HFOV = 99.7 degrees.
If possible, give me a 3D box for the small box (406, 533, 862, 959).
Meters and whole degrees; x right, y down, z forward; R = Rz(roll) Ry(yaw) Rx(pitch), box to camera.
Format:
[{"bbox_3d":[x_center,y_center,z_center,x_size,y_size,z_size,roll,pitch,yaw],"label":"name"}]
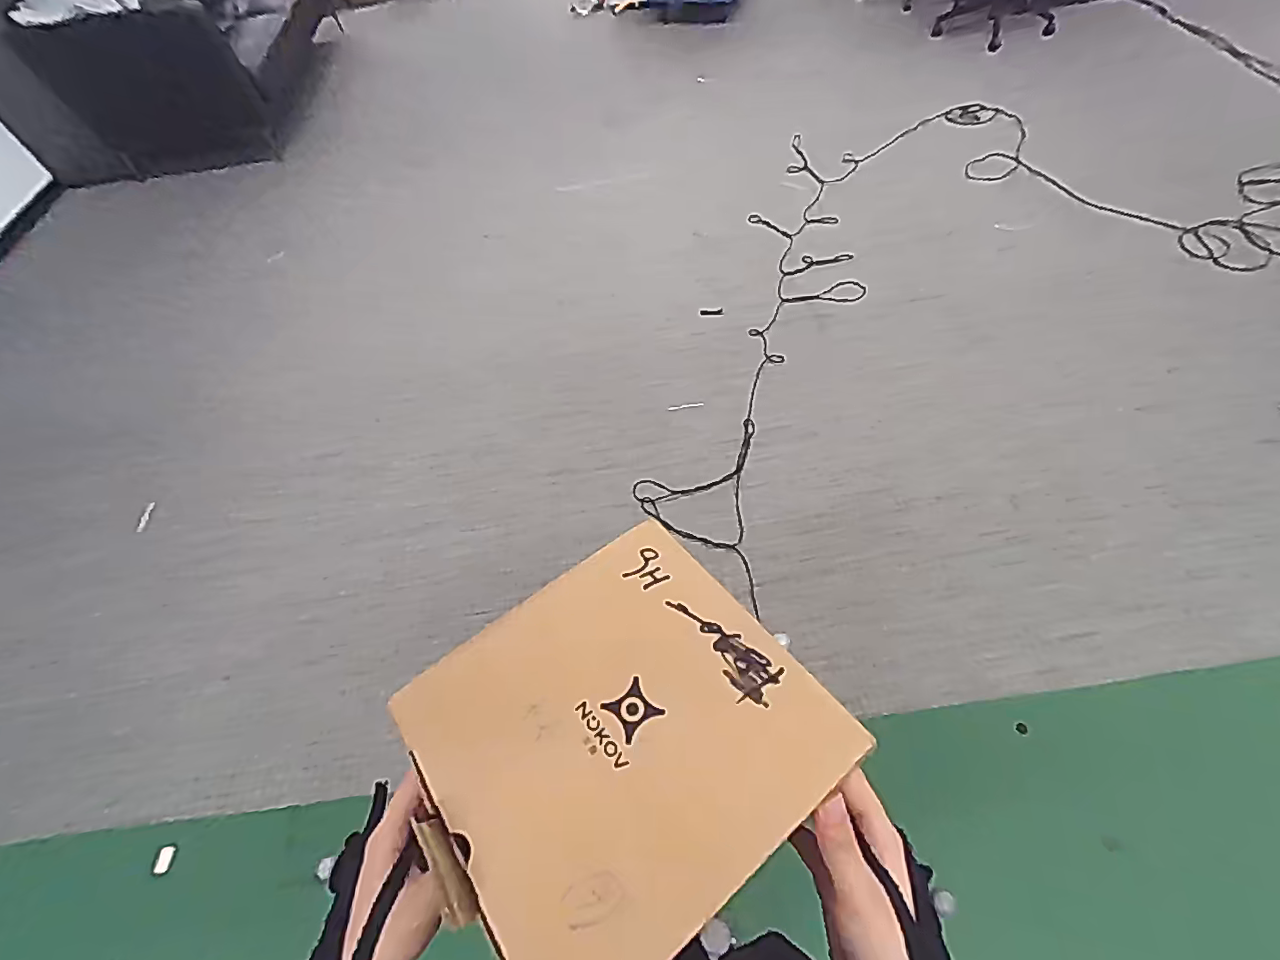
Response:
[{"bbox_3d":[-0.002,0.174,0.331,0.179,0.176,0.168,-33,56,-20],"label":"small box"}]
